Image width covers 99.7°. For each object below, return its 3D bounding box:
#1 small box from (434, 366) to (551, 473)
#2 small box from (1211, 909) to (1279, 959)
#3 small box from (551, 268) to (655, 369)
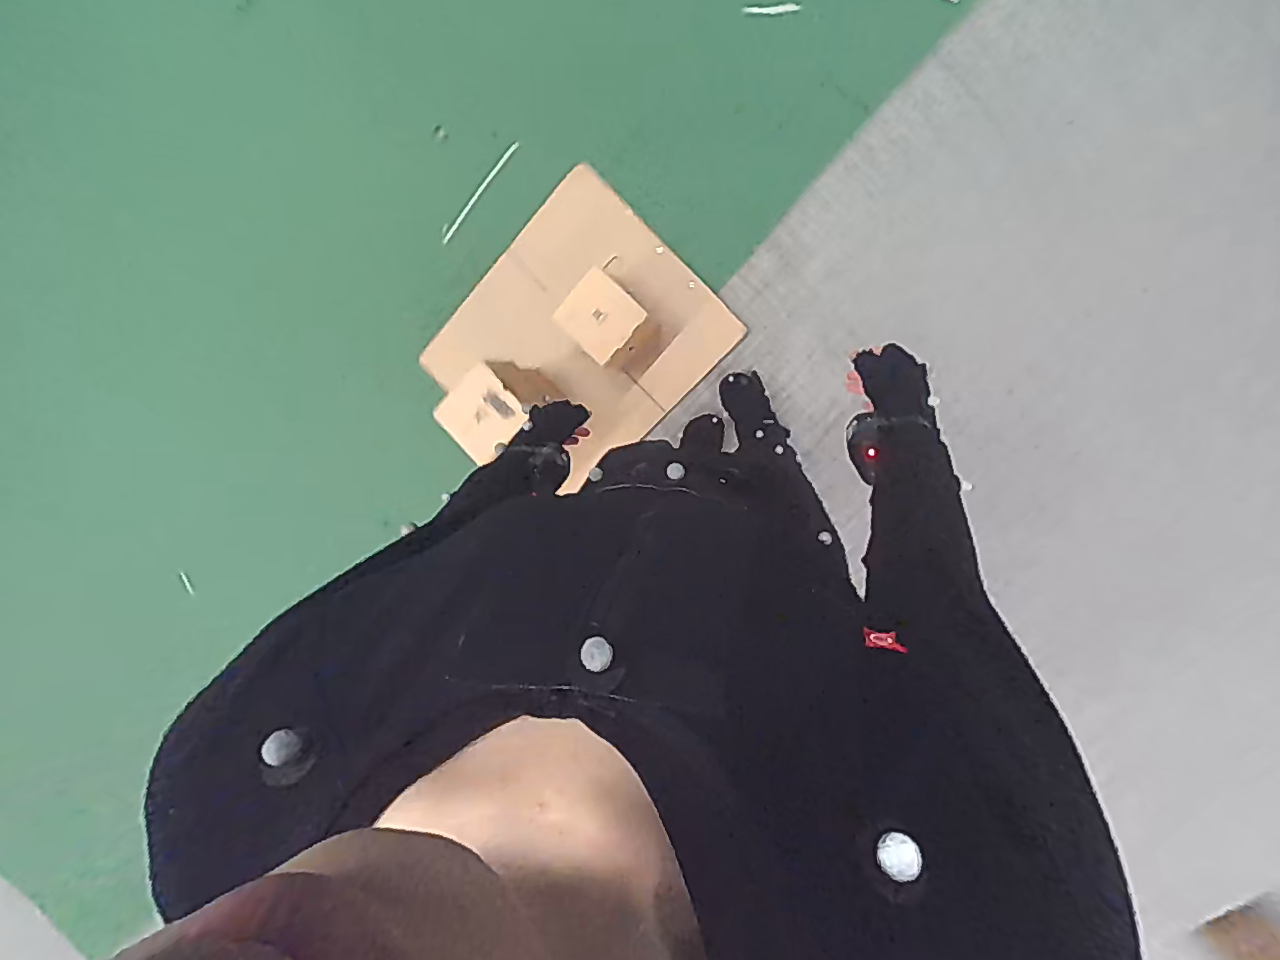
[{"bbox_3d":[-0.328,-0.146,1.251,0.179,0.176,0.168,-43,90,16],"label":"small box"},{"bbox_3d":[1.599,1.212,1.333,0.168,0.176,0.179,-42,90,14],"label":"small box"},{"bbox_3d":[-0.084,-0.387,1.338,0.179,0.176,0.168,43,104,0],"label":"small box"}]
